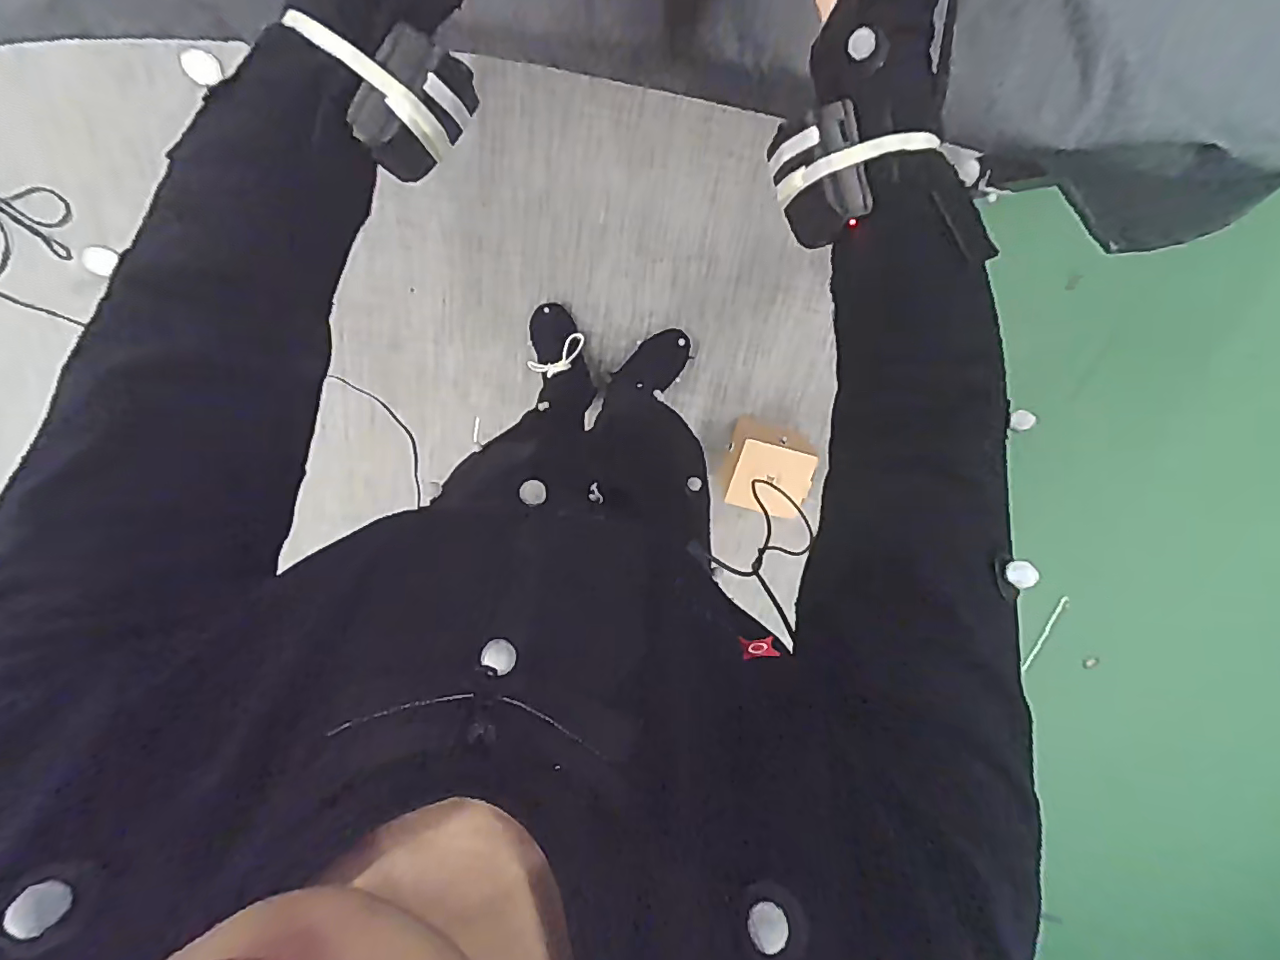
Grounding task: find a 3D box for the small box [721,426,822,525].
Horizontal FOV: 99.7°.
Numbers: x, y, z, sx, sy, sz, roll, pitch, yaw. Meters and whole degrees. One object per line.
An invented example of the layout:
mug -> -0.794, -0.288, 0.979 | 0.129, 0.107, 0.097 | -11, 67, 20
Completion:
small box -> 0.305, -0.018, 1.292 | 0.179, 0.176, 0.168 | 14, 112, -2
